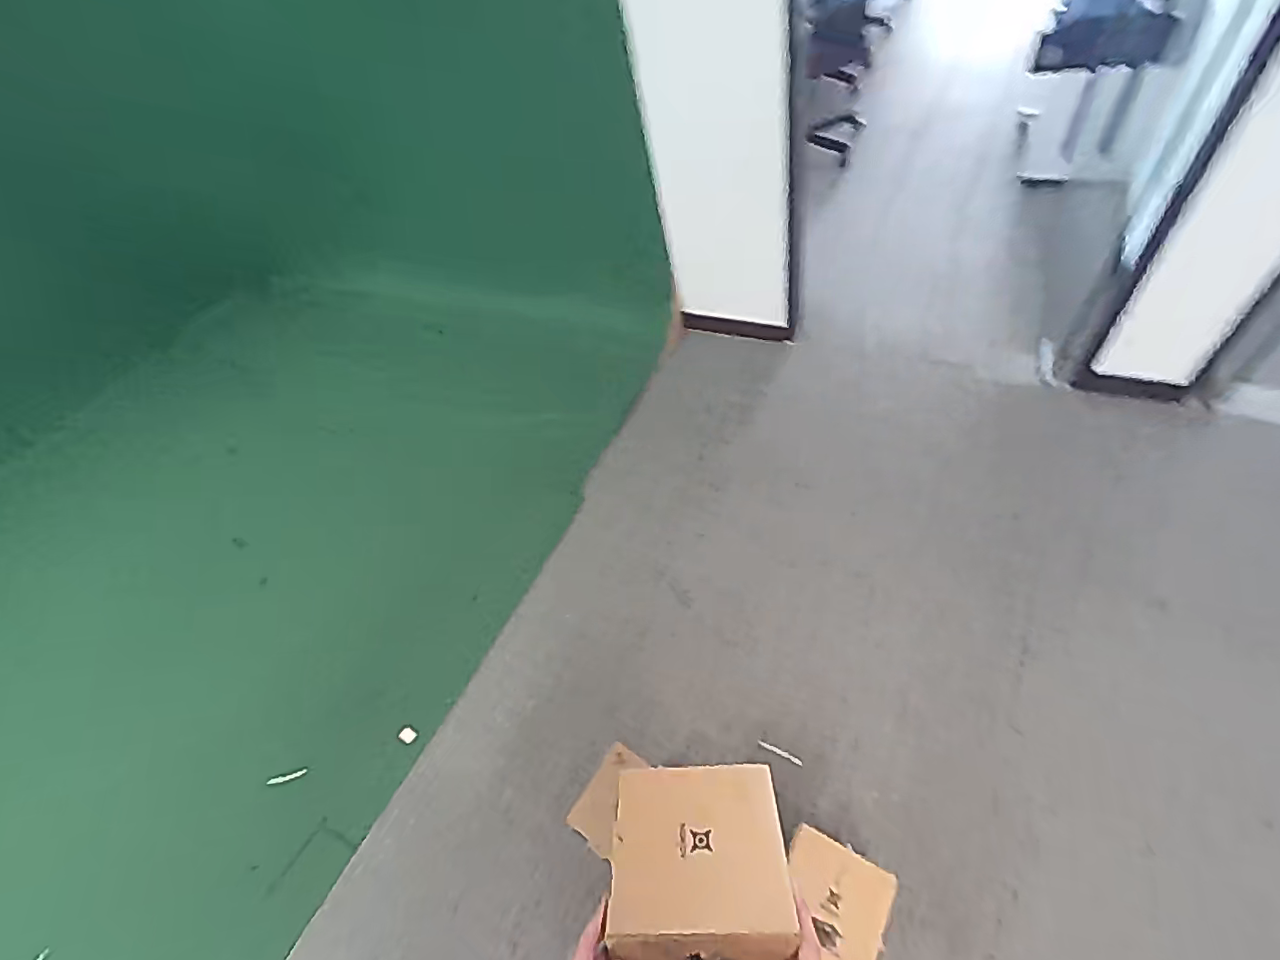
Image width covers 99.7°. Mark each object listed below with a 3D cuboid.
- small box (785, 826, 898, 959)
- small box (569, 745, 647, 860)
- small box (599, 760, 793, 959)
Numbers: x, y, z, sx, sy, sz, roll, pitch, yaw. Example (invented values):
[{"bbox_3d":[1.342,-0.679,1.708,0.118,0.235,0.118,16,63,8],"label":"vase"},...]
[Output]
[{"bbox_3d":[0.338,0.756,0.958,0.168,0.176,0.179,19,60,27],"label":"small box"},{"bbox_3d":[-0.011,0.686,1.111,0.168,0.176,0.179,25,64,29],"label":"small box"},{"bbox_3d":[0.060,0.435,0.584,0.179,0.176,0.168,-6,24,4],"label":"small box"}]
